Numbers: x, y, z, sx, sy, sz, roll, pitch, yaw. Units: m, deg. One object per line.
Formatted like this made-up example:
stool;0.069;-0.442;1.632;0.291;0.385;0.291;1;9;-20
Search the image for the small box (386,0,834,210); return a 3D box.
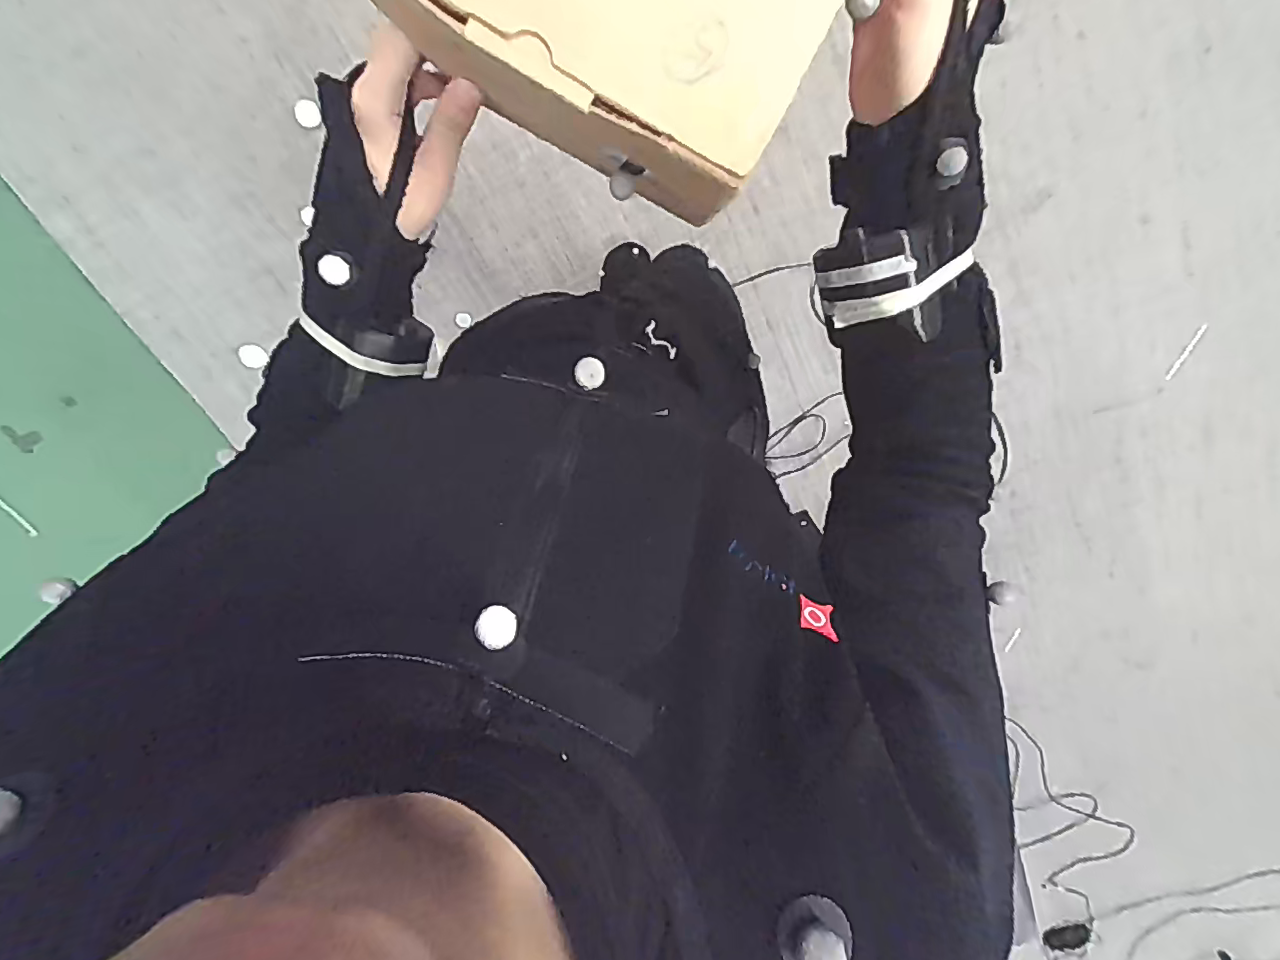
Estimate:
small box;0.003;-0.237;0.221;0.168;0.176;0.179;25;108;-10
